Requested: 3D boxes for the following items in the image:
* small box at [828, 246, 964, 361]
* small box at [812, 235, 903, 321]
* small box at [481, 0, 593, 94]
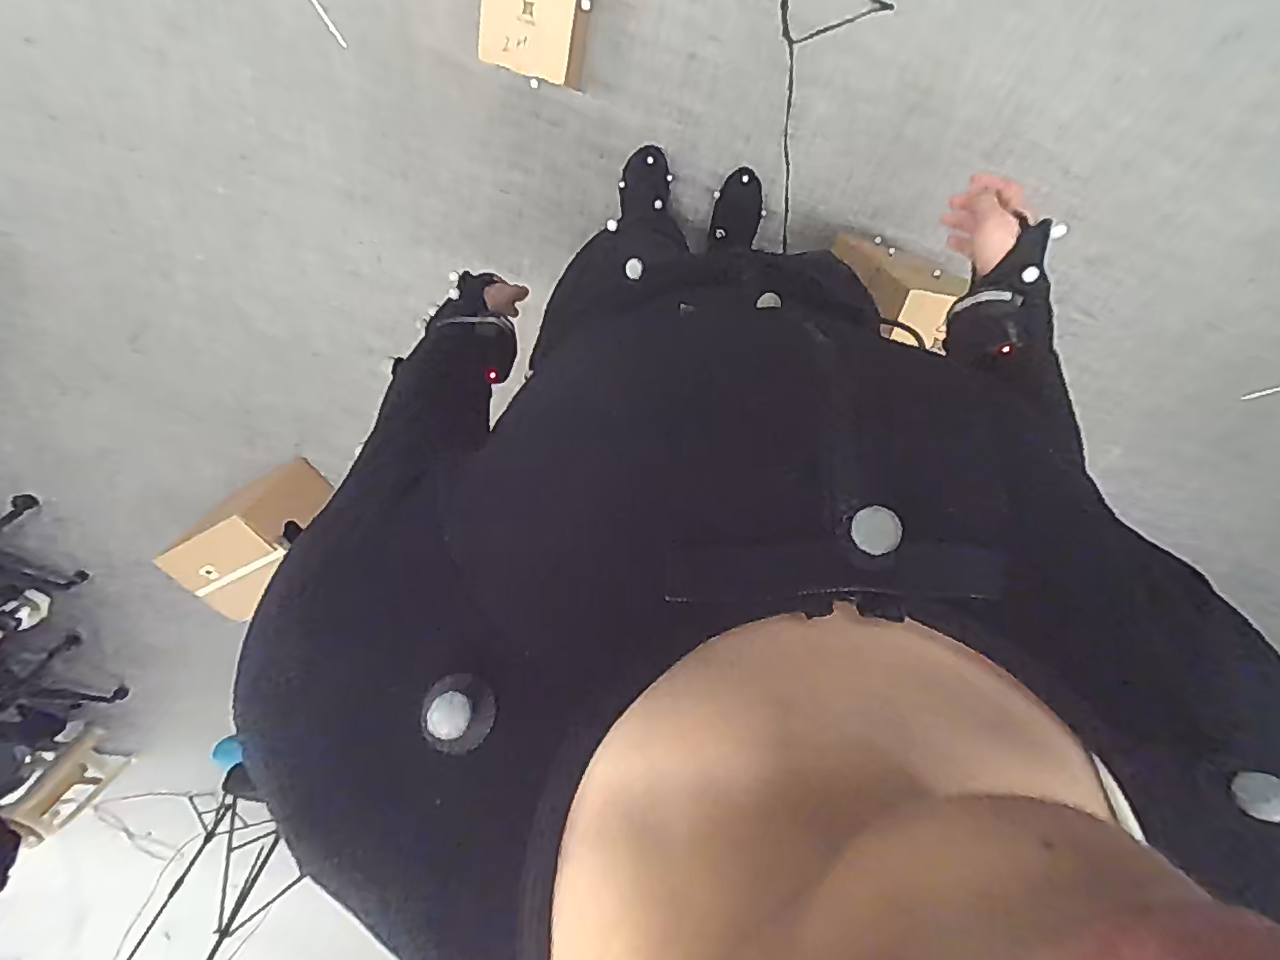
[{"bbox_3d":[0.512,-0.370,1.116,0.179,0.176,0.168,11,126,-4],"label":"small box"},{"bbox_3d":[0.521,-0.453,1.255,0.179,0.176,0.168,14,125,-5],"label":"small box"},{"bbox_3d":[-0.190,-0.864,1.029,0.168,0.176,0.179,14,124,-4],"label":"small box"}]
